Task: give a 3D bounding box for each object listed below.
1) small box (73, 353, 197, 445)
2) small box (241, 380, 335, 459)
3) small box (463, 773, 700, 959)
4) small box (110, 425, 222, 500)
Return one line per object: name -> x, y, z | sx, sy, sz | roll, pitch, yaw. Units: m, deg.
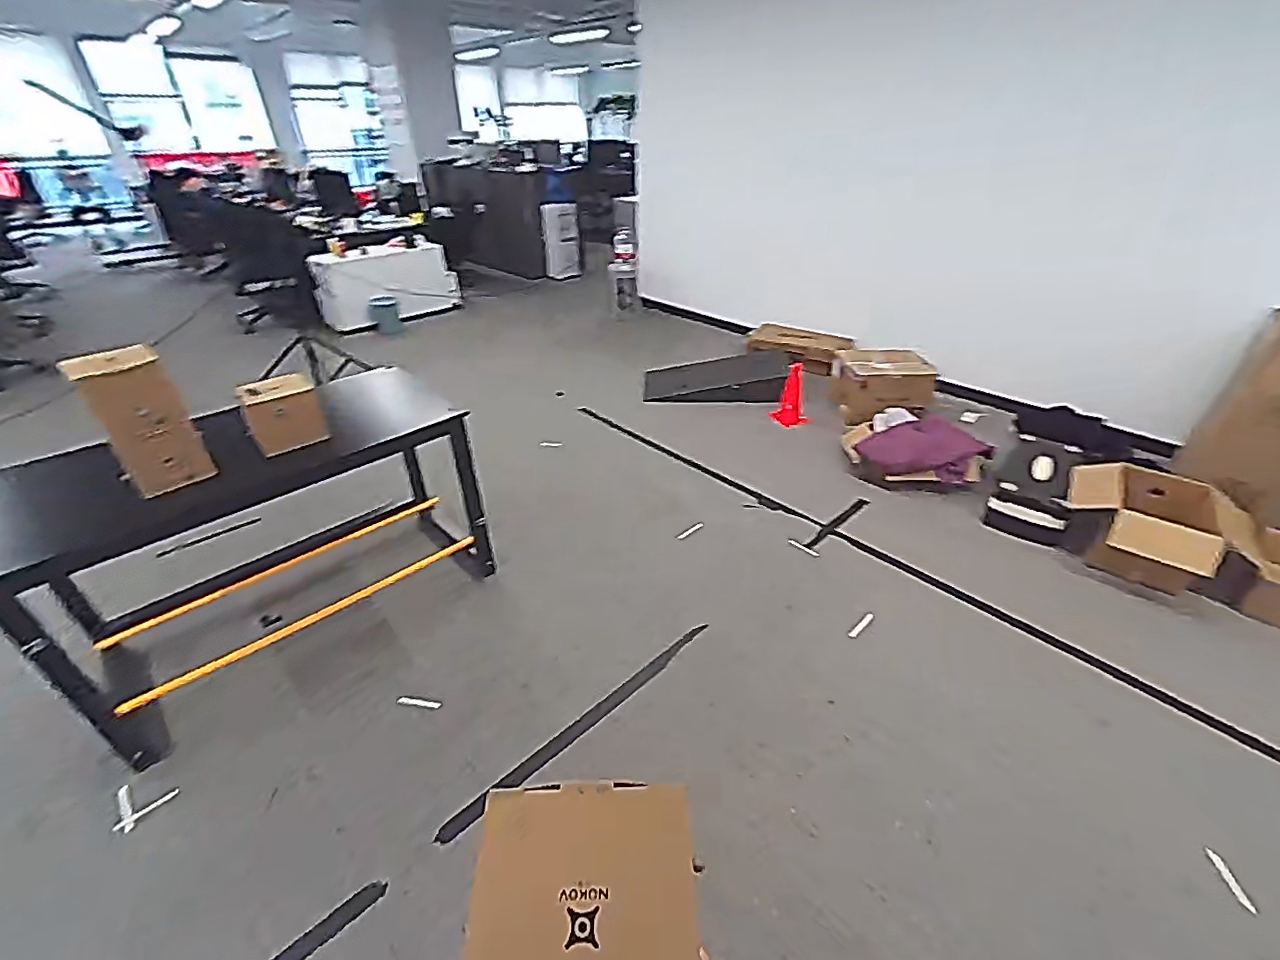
small box -> -1.285, -0.208, 1.381 | 0.179, 0.176, 0.168 | 24, 41, 33
small box -> -1.066, -0.183, 1.642 | 0.179, 0.176, 0.168 | -27, 41, -35
small box -> -0.041, 0.366, 0.447 | 0.168, 0.176, 0.179 | -2, 45, -1
small box -> -1.281, -0.067, 1.468 | 0.179, 0.176, 0.168 | 26, 42, 34
